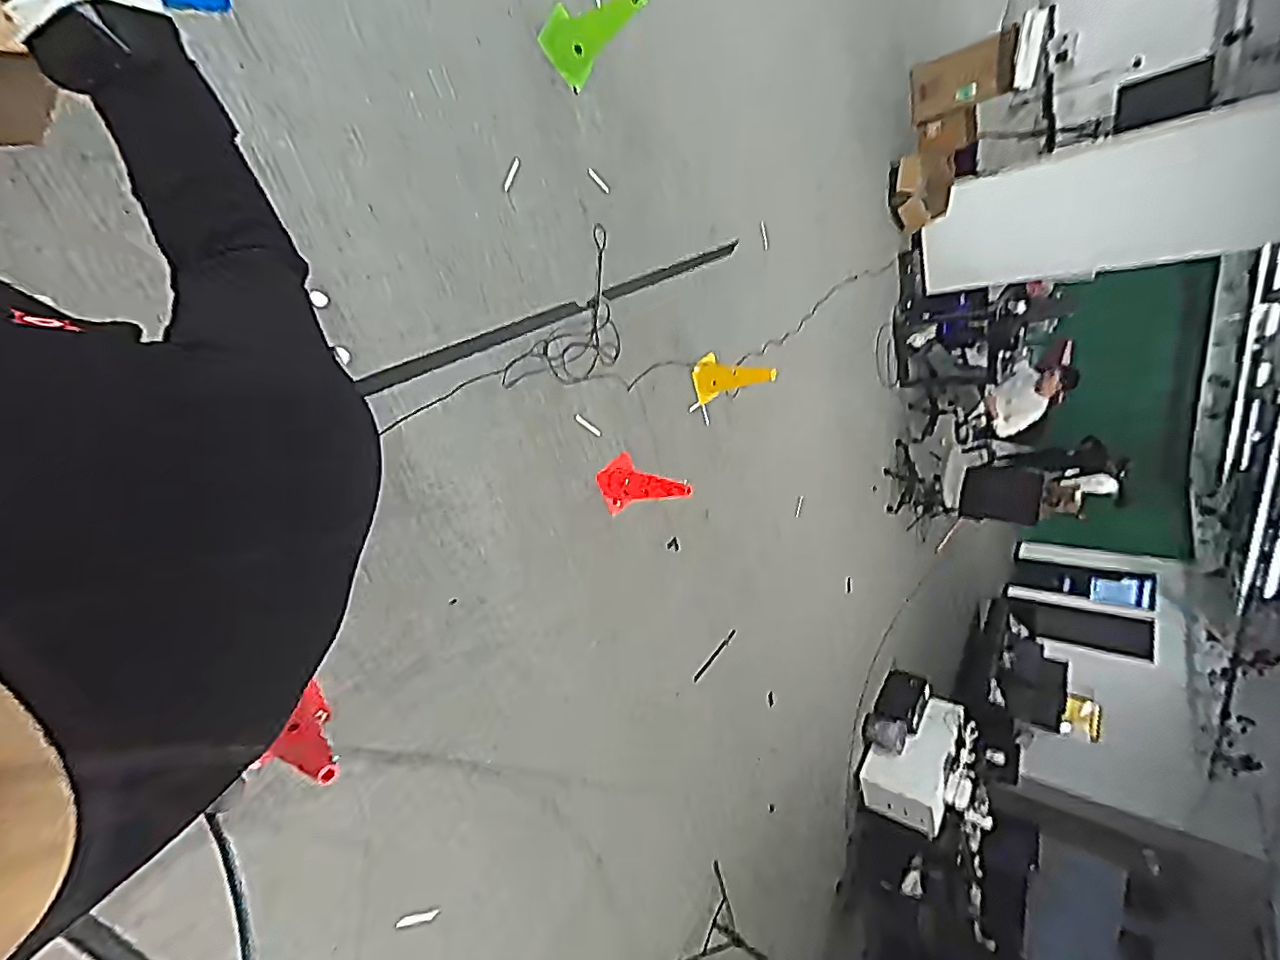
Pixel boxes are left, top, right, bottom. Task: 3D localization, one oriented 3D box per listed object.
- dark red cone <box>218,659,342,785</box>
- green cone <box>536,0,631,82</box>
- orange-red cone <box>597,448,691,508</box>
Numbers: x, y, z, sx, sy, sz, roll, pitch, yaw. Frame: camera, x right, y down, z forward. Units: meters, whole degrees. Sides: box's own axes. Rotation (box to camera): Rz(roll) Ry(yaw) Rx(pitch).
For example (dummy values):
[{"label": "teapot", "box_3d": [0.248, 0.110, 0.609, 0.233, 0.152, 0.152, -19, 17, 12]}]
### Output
[{"label": "dark red cone", "box_3d": [-0.750, 0.571, 1.198, 0.202, 0.394, 0.201, -32, 116, -42]}, {"label": "green cone", "box_3d": [-0.125, -1.486, 1.712, 0.202, 0.368, 0.200, 33, 69, -43]}, {"label": "orange-red cone", "box_3d": [0.041, 0.002, 2.060, 0.199, 0.360, 0.198, -42, 124, -39]}]
